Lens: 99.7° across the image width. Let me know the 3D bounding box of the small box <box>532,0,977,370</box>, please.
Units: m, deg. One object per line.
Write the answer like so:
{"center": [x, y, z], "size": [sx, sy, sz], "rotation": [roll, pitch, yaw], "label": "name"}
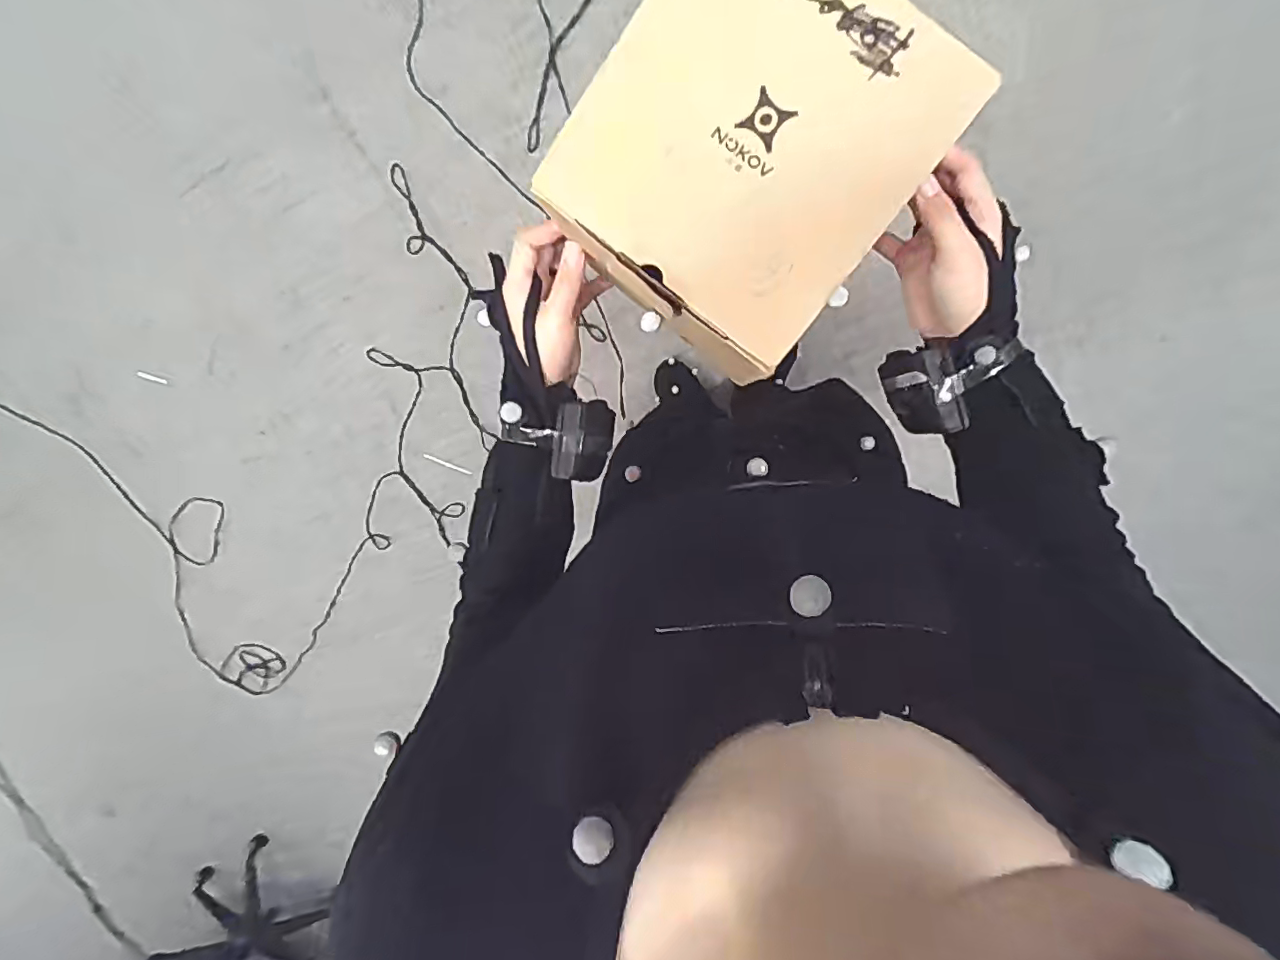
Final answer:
{"center": [0.063, -0.189, 0.360], "size": [0.168, 0.176, 0.179], "rotation": [37, 101, 0], "label": "small box"}
